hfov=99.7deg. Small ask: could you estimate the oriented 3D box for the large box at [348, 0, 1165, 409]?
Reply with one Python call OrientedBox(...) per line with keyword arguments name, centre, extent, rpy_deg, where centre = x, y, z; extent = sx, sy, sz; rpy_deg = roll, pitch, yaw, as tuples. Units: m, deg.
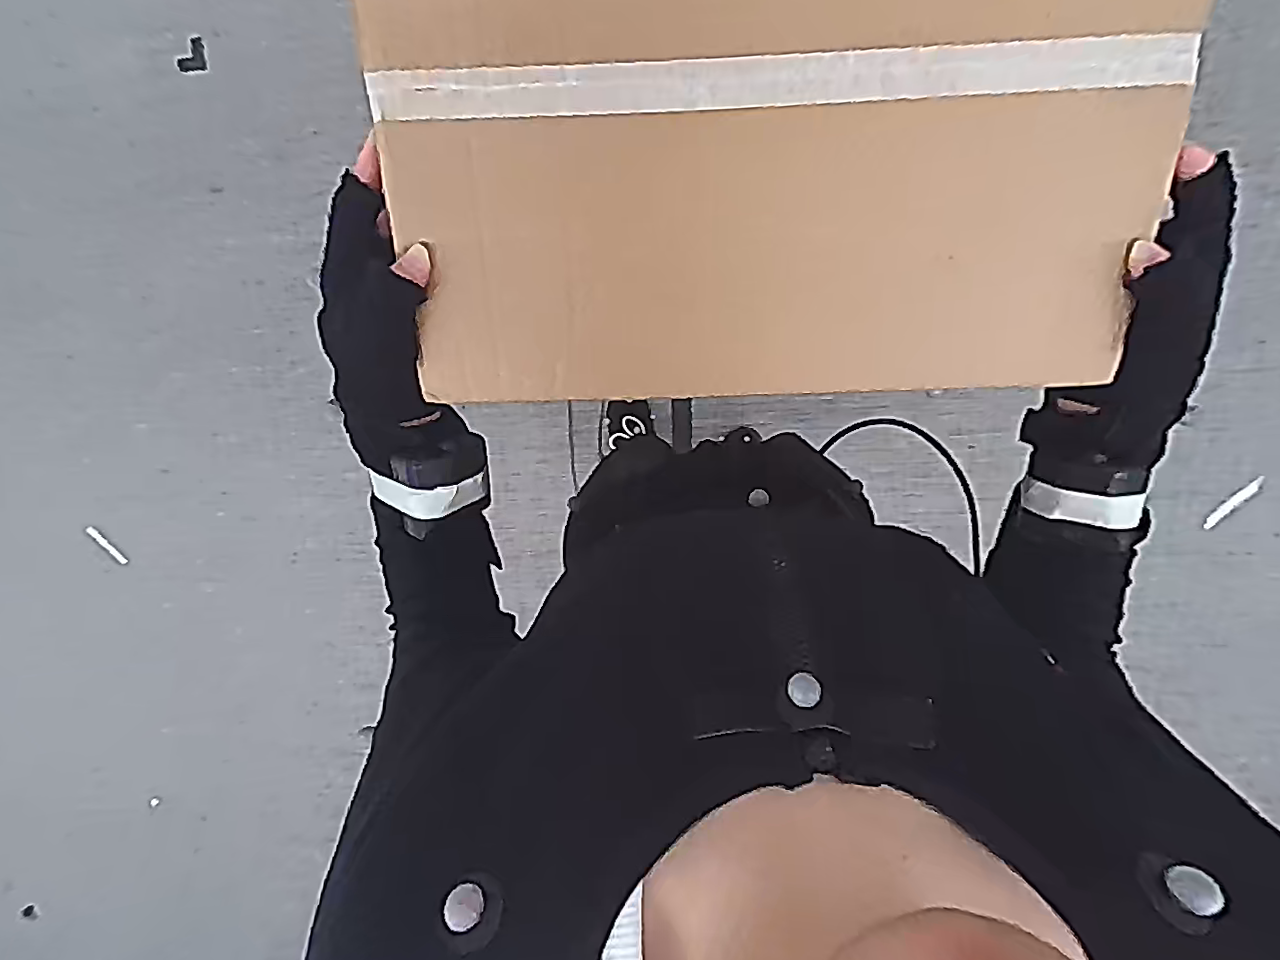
OrientedBox(name="large box", centre=(0.059, -0.250, 0.417), extent=(0.408, 0.320, 0.320), rpy_deg=(-2, 110, 1))
